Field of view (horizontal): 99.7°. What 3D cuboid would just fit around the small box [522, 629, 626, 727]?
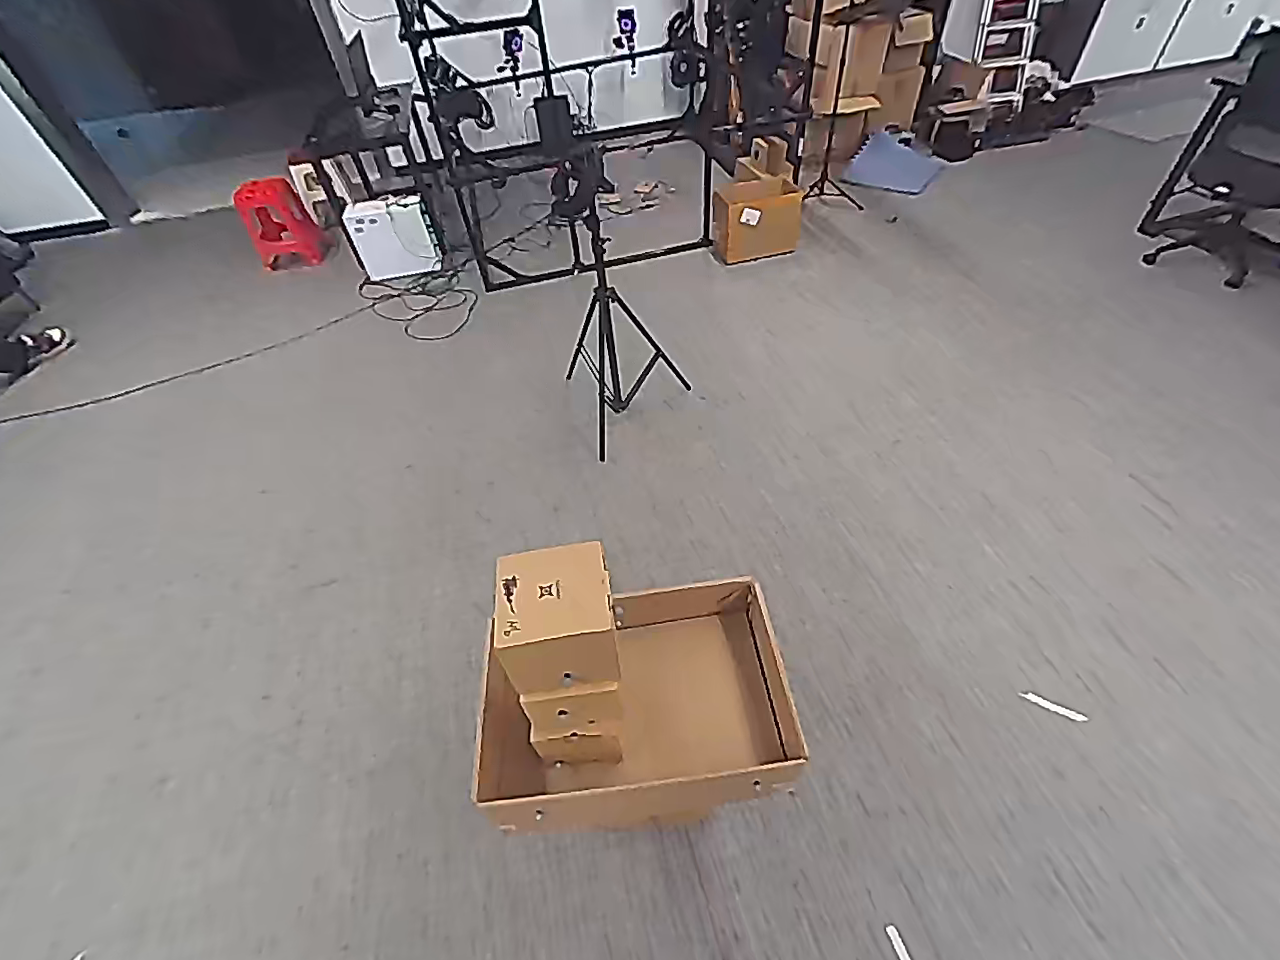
[{"bbox_3d":[-0.119,0.344,1.006,0.168,0.176,0.179,-7,46,-3],"label":"small box"}]

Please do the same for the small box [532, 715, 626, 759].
[{"bbox_3d":[-0.118,0.463,1.118,0.168,0.176,0.179,-4,47,0],"label":"small box"}]

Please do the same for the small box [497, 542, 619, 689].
[{"bbox_3d":[-0.128,0.225,0.893,0.179,0.176,0.168,-7,46,-4],"label":"small box"}]
